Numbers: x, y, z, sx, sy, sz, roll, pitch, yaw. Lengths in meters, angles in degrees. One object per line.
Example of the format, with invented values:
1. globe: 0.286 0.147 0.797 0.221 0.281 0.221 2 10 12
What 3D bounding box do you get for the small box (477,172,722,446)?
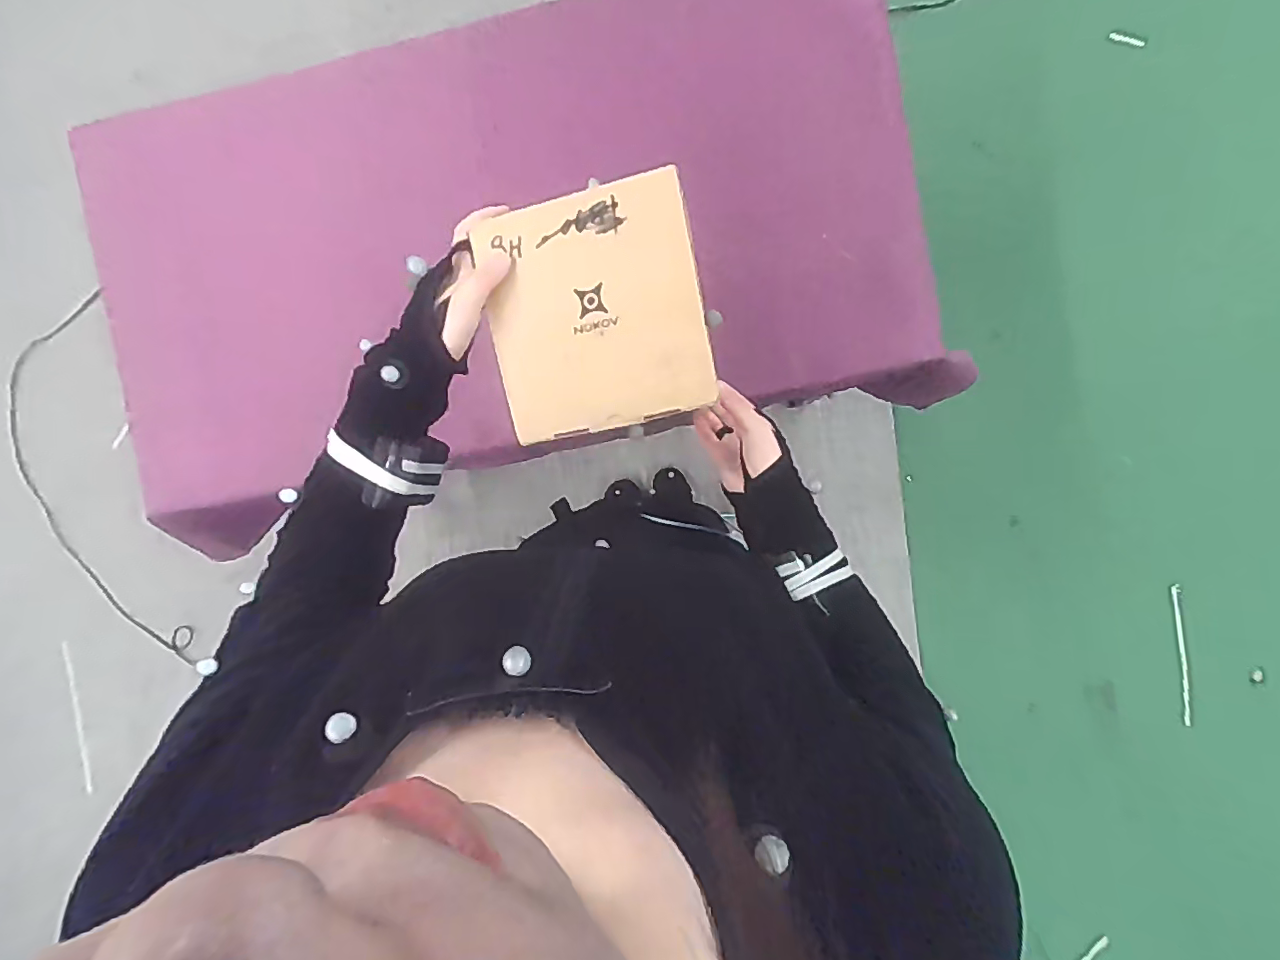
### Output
1. small box: -0.019 -0.140 0.491 0.168 0.176 0.179 -10 99 10
